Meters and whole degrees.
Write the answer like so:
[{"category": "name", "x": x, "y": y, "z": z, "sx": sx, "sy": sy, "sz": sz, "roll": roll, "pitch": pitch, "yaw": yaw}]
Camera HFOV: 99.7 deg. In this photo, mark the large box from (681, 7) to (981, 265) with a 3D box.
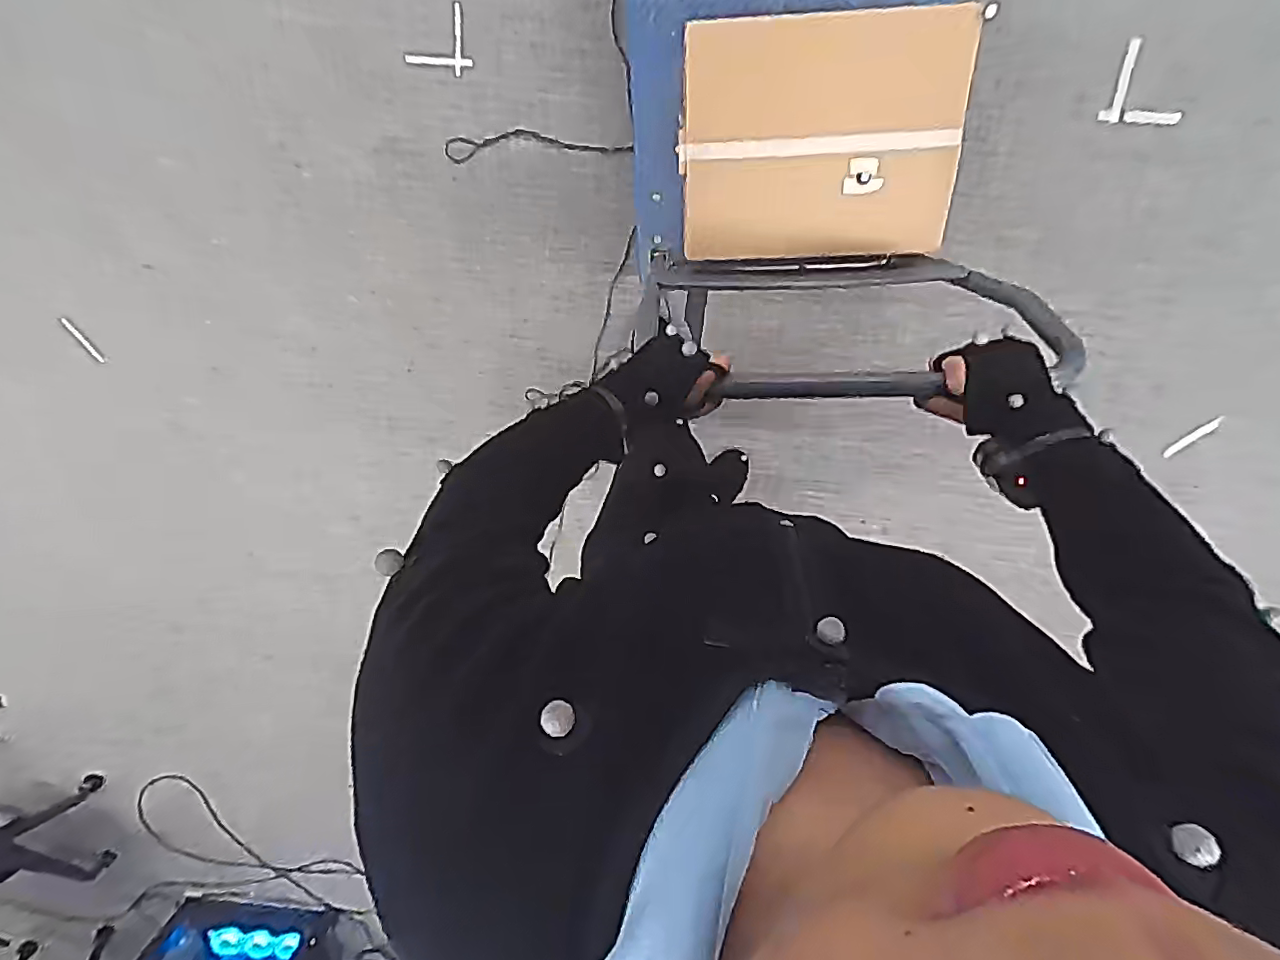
[{"category": "large box", "x": 0.278, "y": -0.561, "z": 0.941, "sx": 0.408, "sy": 0.320, "sz": 0.320, "roll": -1, "pitch": 117, "yaw": 4}]
